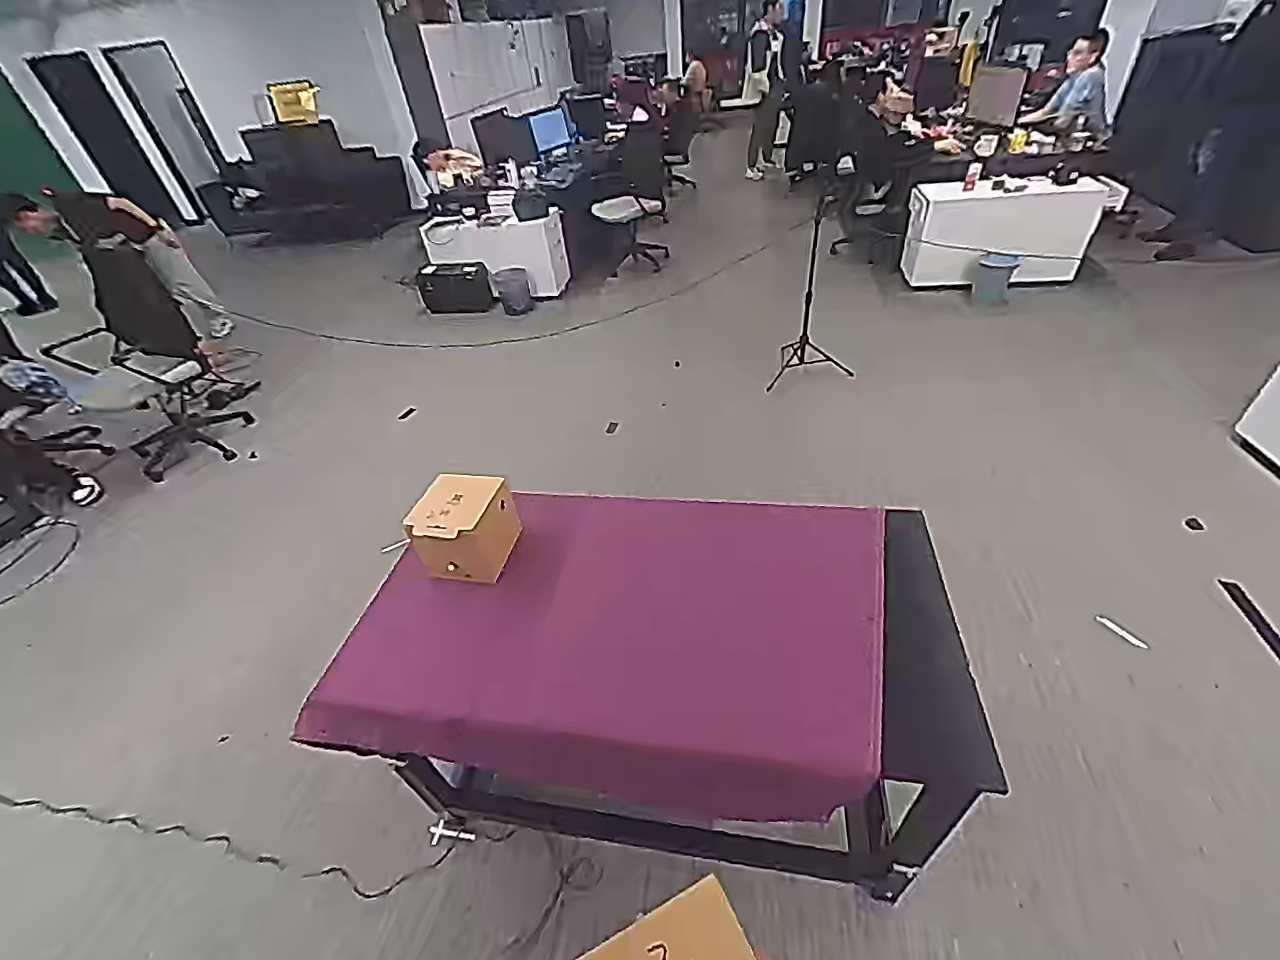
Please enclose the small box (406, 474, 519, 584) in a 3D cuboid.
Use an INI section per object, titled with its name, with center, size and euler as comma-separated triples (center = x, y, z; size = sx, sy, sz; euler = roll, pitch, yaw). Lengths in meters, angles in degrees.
[small box]
center = -0.389, 0.110, 1.228
size = 0.168, 0.176, 0.179
euler = 3, 42, 13
